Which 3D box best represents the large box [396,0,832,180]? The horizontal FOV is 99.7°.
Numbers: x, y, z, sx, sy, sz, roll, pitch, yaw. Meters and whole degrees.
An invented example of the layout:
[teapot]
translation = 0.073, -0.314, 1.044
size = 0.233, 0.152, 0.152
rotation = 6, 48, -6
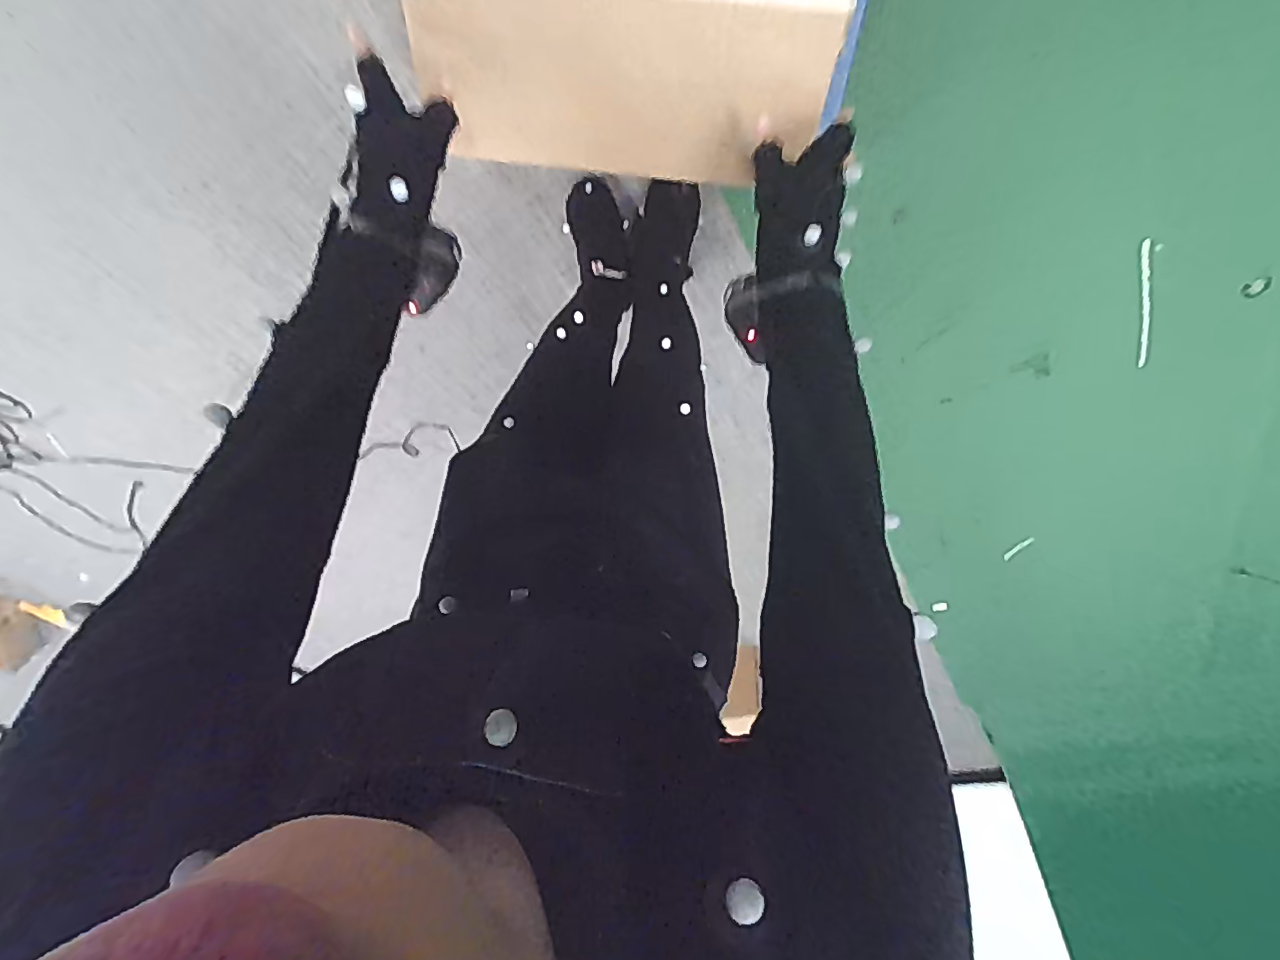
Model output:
[large box]
translation = -0.010, -0.554, 0.572
size = 0.408, 0.320, 0.320
rotation = 7, 136, 1
